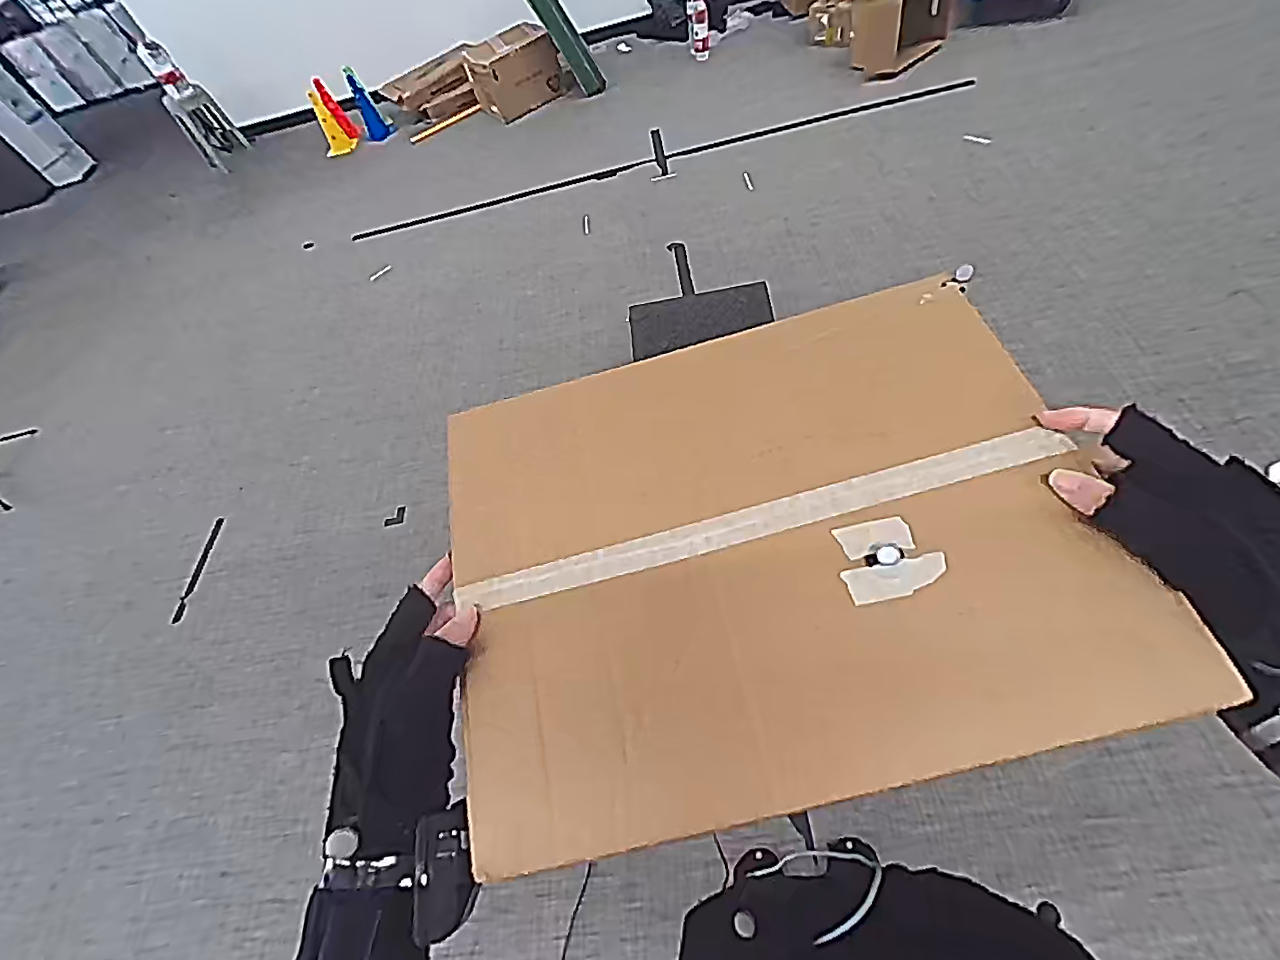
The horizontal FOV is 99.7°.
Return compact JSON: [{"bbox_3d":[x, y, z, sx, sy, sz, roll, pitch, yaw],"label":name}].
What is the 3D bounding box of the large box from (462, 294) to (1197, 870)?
[{"bbox_3d":[0.099,0.102,0.495,0.408,0.320,0.320,-16,62,2],"label":"large box"}]
